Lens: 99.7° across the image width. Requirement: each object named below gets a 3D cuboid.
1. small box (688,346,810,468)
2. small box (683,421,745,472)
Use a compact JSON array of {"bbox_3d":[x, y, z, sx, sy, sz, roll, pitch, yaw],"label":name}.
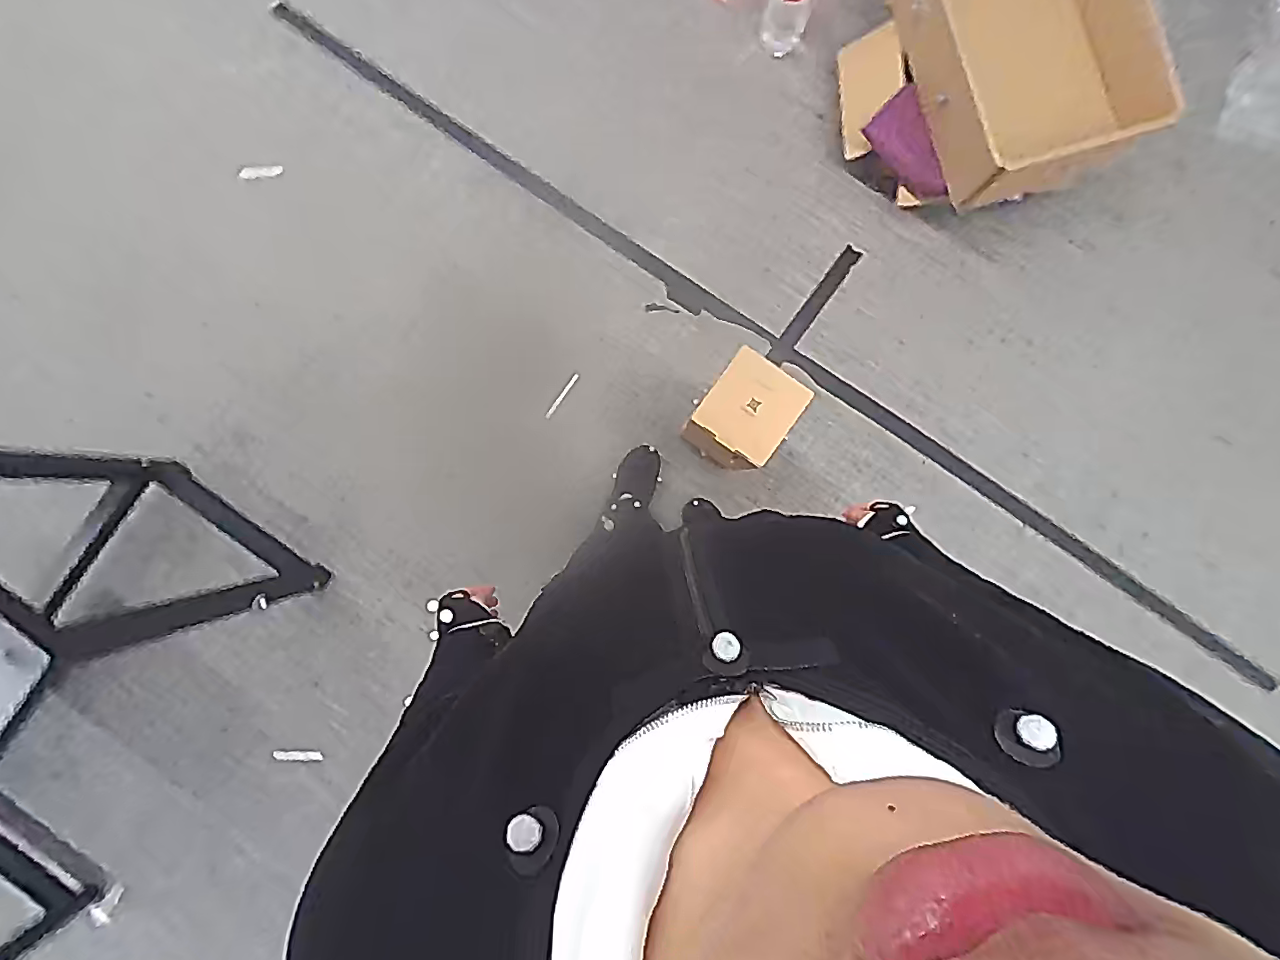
[{"bbox_3d":[0.209,-0.136,1.094,0.168,0.176,0.179,35,90,1],"label":"small box"},{"bbox_3d":[0.211,-0.135,1.256,0.168,0.176,0.179,36,92,2],"label":"small box"}]
